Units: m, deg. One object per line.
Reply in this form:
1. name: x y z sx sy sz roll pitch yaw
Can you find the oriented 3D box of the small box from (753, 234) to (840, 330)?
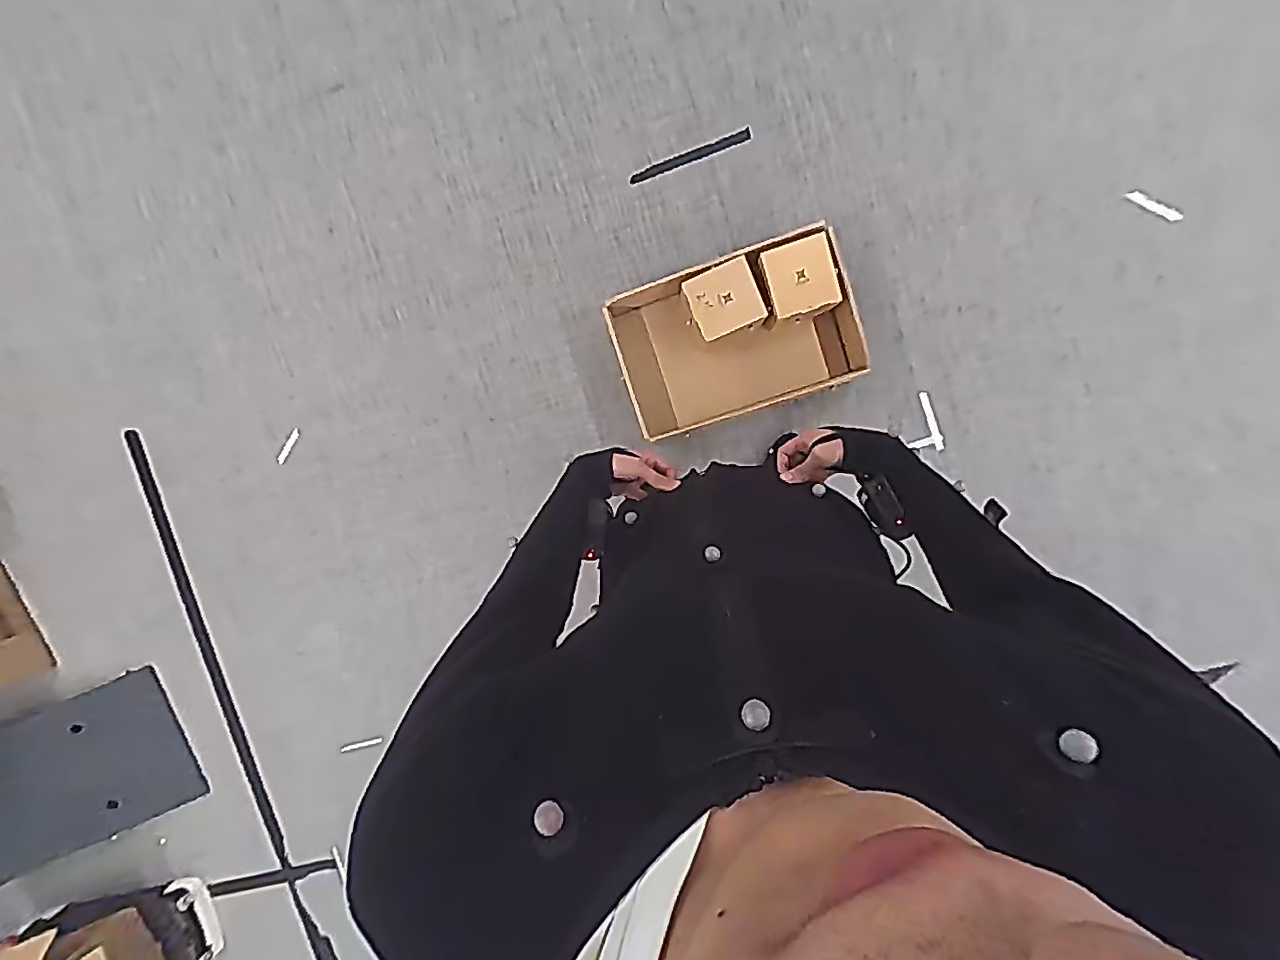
1. small box: 0.406 -0.515 1.432 0.168 0.176 0.179 -17 96 8
